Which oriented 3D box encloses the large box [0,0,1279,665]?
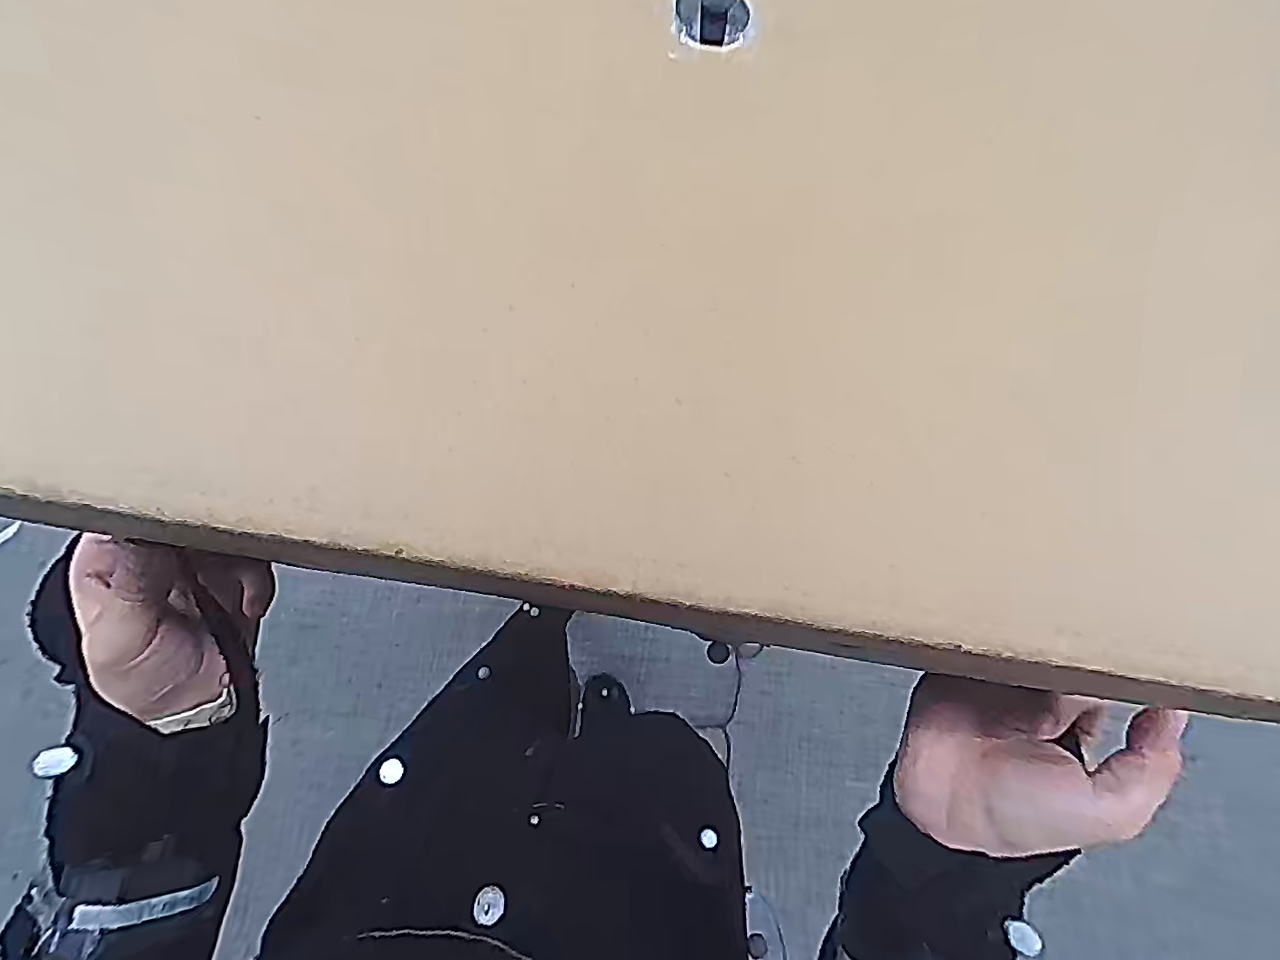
[{"bbox_3d":[0.008,-0.098,0.302,0.408,0.320,0.320,9,77,-1],"label":"large box"}]
